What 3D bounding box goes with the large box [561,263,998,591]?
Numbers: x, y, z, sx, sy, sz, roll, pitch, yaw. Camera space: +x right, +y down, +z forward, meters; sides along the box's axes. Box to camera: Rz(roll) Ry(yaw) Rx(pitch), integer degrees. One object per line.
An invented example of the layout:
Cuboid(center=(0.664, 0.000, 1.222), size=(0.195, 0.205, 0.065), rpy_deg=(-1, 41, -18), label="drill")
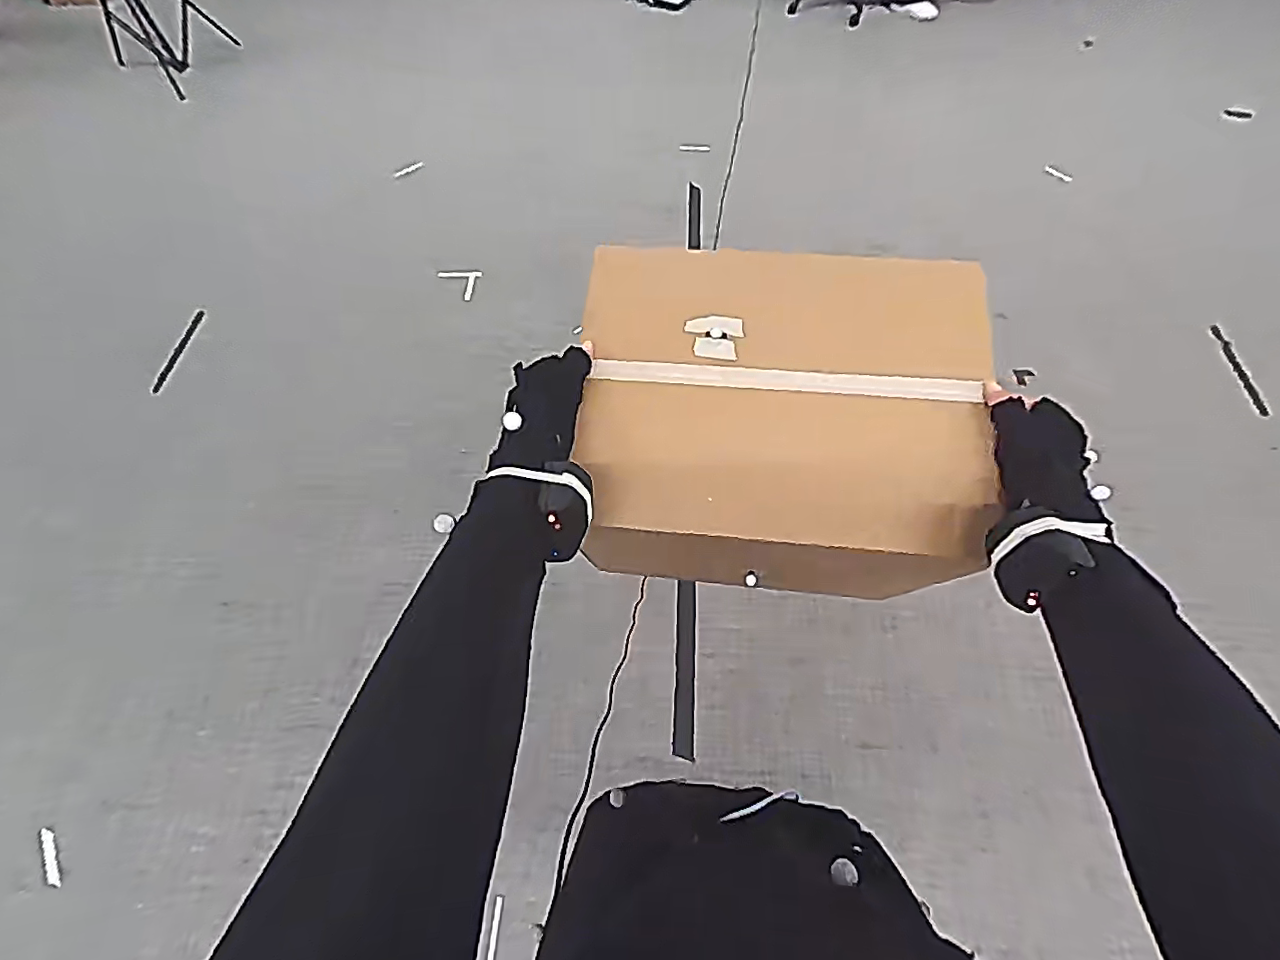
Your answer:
Cuboid(center=(0.149, -0.043, 0.683), size=(0.408, 0.320, 0.320), rpy_deg=(4, 71, 7), label="large box")
